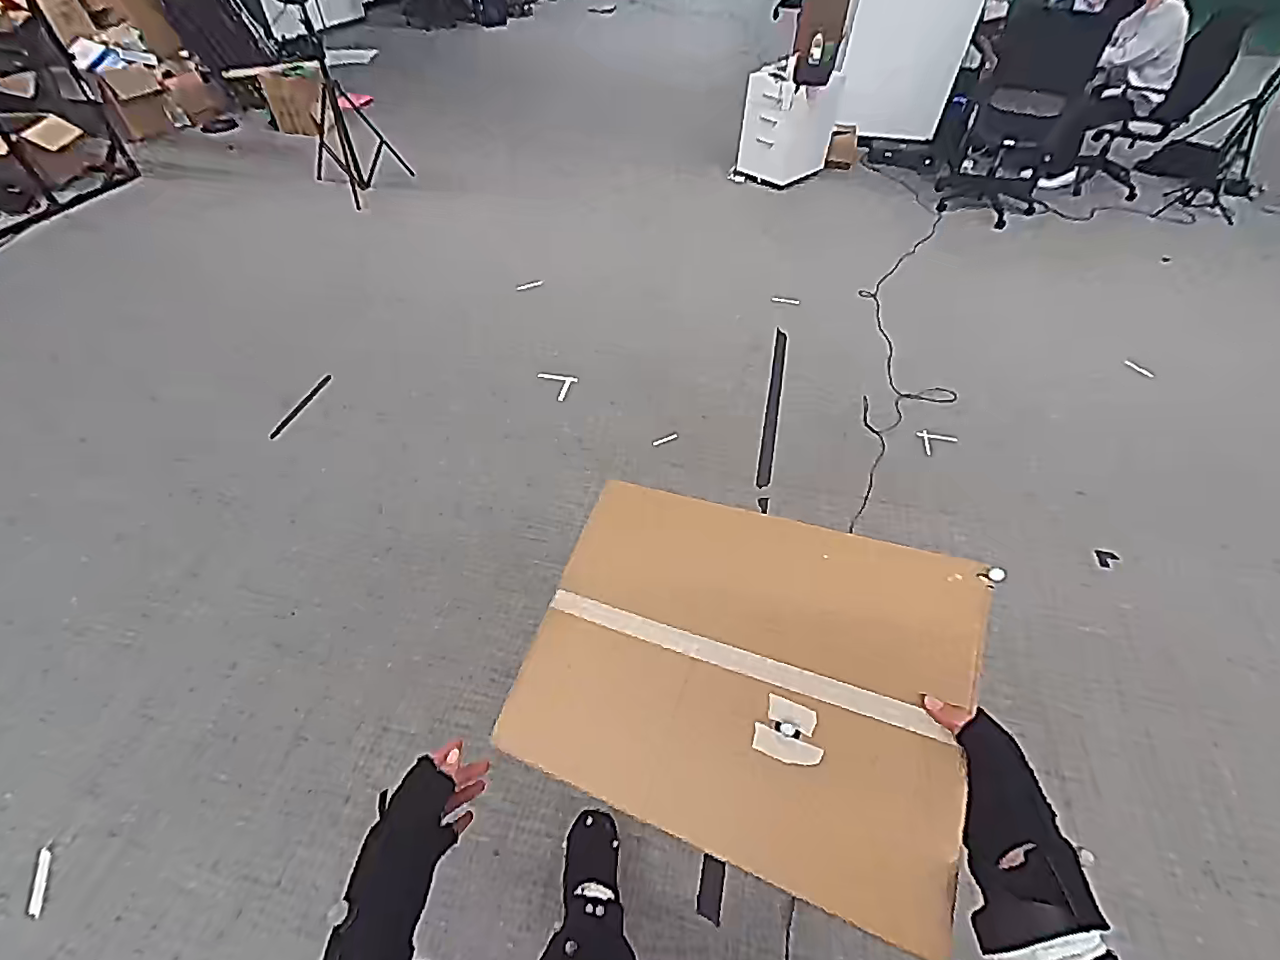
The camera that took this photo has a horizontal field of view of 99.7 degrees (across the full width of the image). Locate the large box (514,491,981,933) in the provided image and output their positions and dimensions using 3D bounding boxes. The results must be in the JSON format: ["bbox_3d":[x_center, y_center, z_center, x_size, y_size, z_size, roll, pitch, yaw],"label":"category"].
[{"bbox_3d":[0.135,0.252,0.663,0.408,0.320,0.320,13,64,24],"label":"large box"}]
